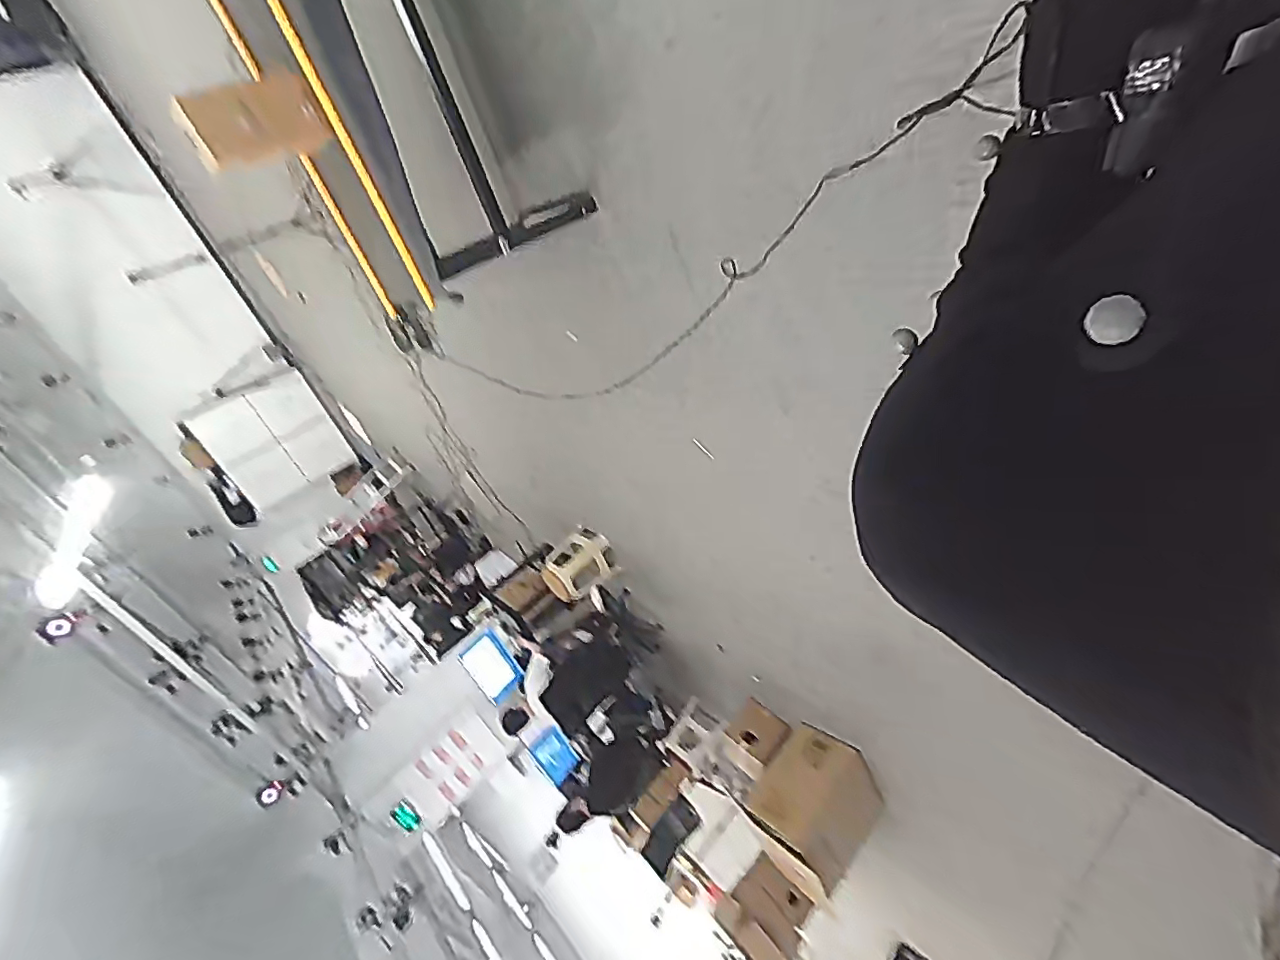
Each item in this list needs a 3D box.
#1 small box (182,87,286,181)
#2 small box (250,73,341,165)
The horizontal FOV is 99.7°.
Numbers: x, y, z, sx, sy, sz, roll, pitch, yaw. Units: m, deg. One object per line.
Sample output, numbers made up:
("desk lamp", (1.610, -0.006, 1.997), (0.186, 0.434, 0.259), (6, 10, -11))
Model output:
("small box", (-1.127, -0.962, 1.508), (0.179, 0.176, 0.168), (16, 137, 47))
("small box", (-1.011, -1.053, 1.583), (0.179, 0.176, 0.168), (14, 136, 48))
